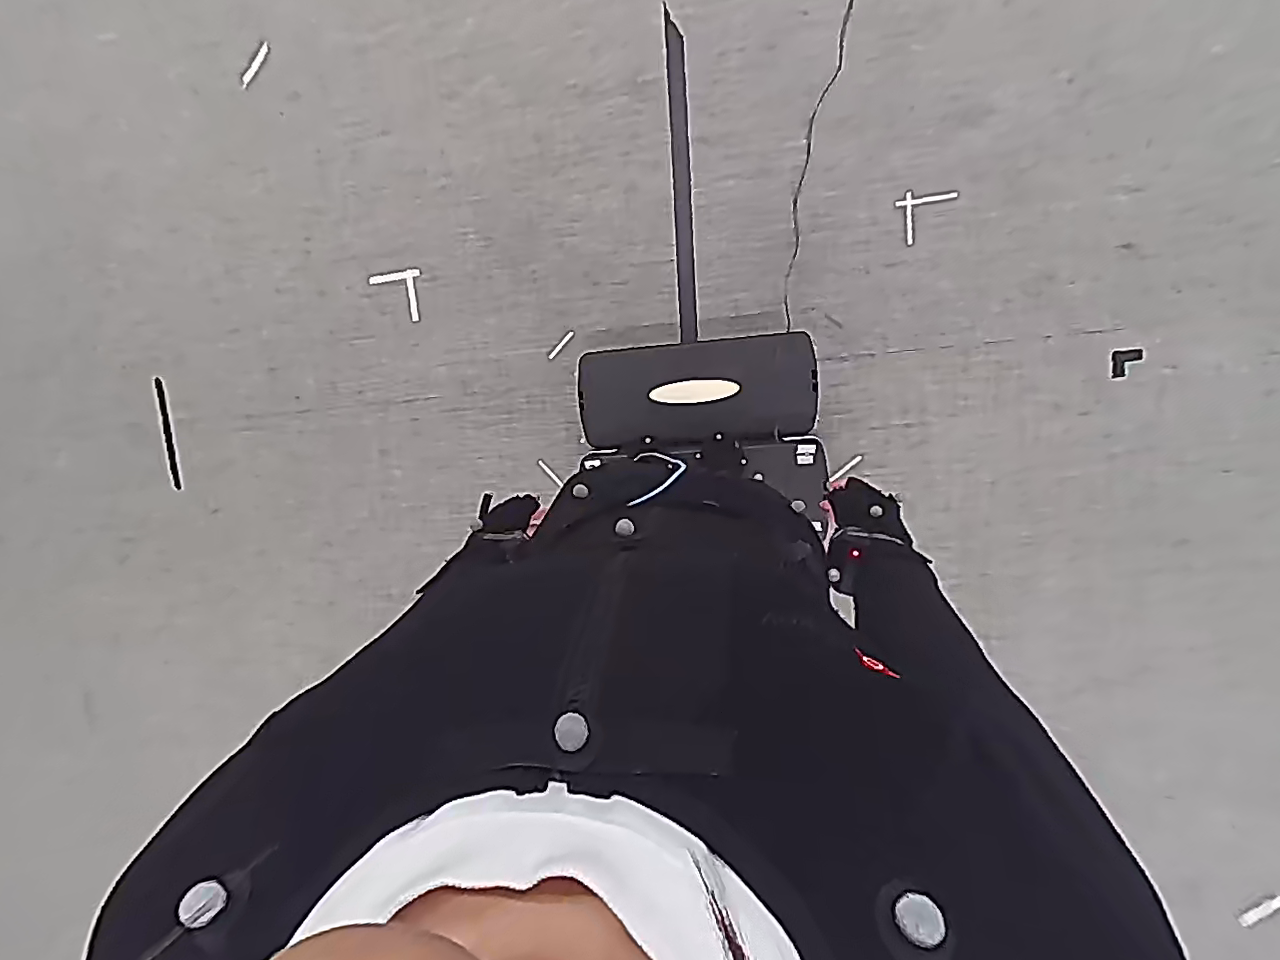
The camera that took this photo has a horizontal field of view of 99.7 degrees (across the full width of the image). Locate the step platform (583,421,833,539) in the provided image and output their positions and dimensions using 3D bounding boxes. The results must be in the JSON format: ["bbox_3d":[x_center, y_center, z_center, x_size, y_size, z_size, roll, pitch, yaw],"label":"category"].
[{"bbox_3d":[0.183,0.004,1.523,0.684,0.204,0.286,-4,95,11],"label":"step platform"}]
